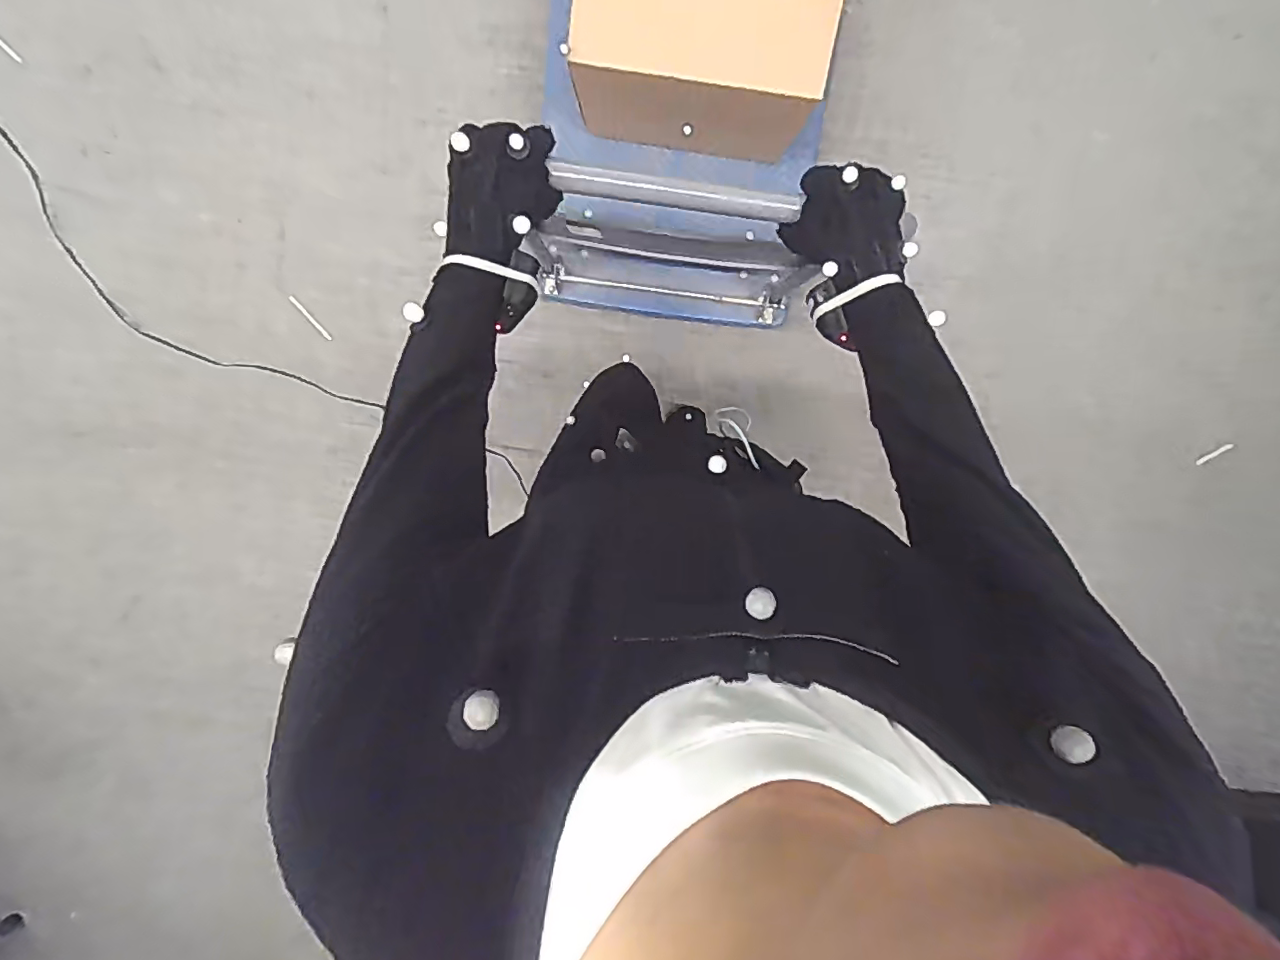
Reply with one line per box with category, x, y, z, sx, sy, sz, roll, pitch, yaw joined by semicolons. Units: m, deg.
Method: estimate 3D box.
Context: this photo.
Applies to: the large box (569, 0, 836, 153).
large box;0.109;-0.811;0.951;0.408;0.320;0.320;8;103;0
